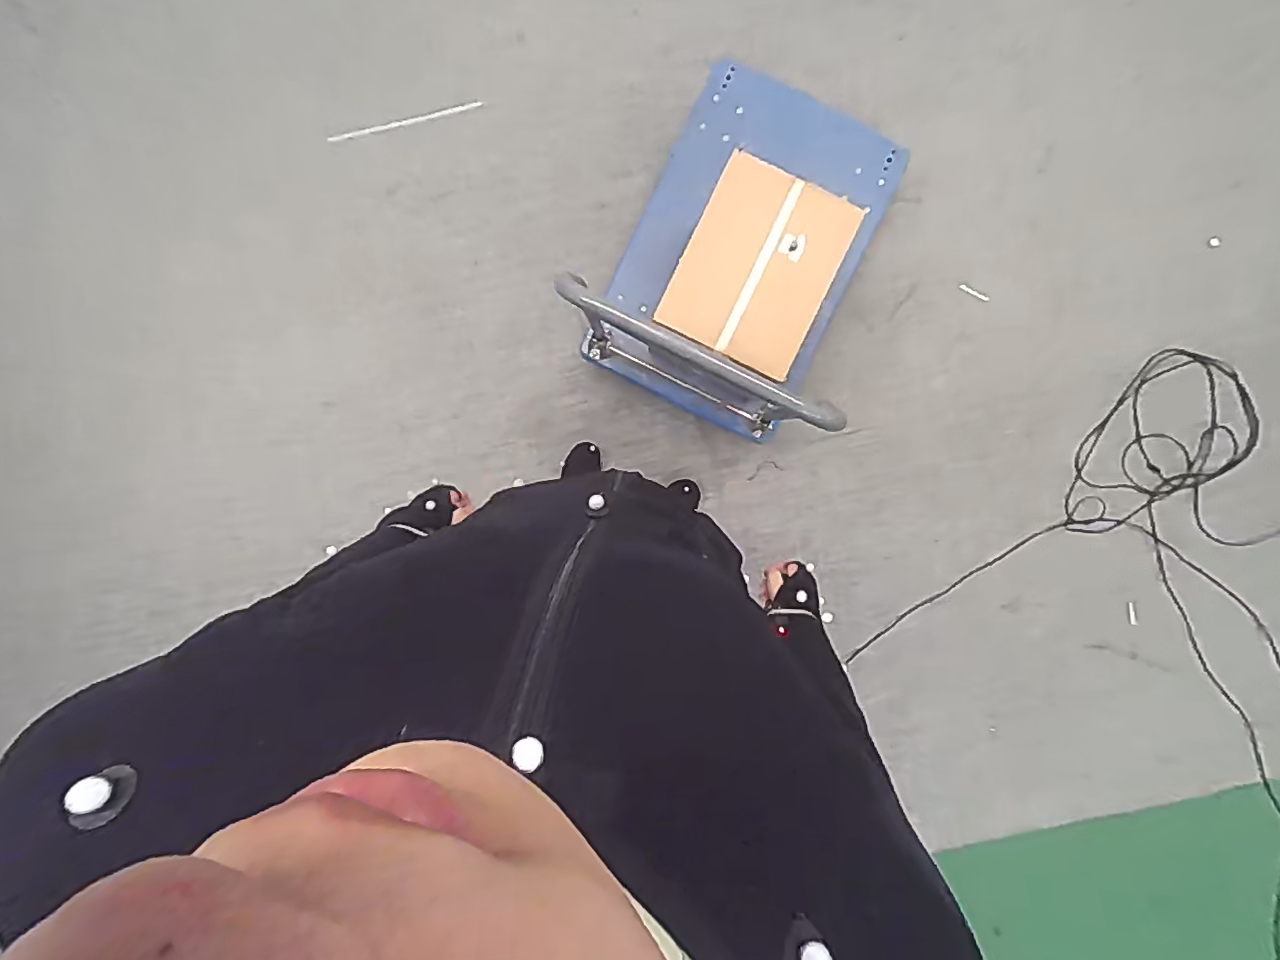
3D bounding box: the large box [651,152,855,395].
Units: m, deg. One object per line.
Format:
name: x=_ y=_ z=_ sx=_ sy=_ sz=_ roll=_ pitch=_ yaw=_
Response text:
large box: x=0.245 y=-0.464 z=1.313 sx=0.320 sy=0.320 sz=0.408 roll=26 pitch=91 yaw=-2
